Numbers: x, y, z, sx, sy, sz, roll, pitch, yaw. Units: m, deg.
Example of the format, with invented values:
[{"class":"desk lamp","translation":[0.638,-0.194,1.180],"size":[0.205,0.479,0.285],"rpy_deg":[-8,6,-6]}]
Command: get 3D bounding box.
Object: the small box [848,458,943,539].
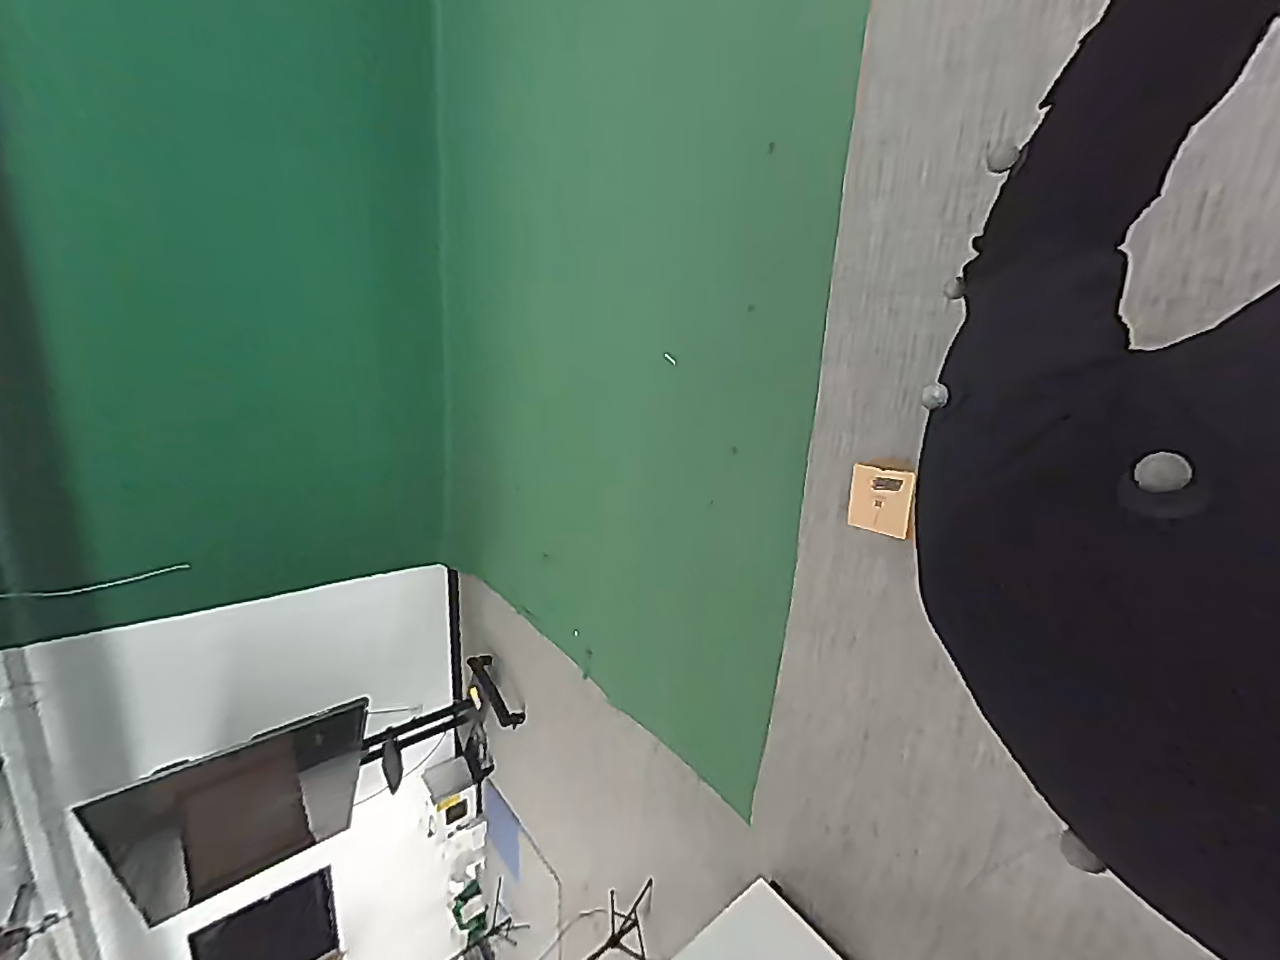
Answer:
[{"class":"small box","translation":[0.690,0.041,1.454],"size":[0.168,0.176,0.179],"rpy_deg":[17,109,49]}]
